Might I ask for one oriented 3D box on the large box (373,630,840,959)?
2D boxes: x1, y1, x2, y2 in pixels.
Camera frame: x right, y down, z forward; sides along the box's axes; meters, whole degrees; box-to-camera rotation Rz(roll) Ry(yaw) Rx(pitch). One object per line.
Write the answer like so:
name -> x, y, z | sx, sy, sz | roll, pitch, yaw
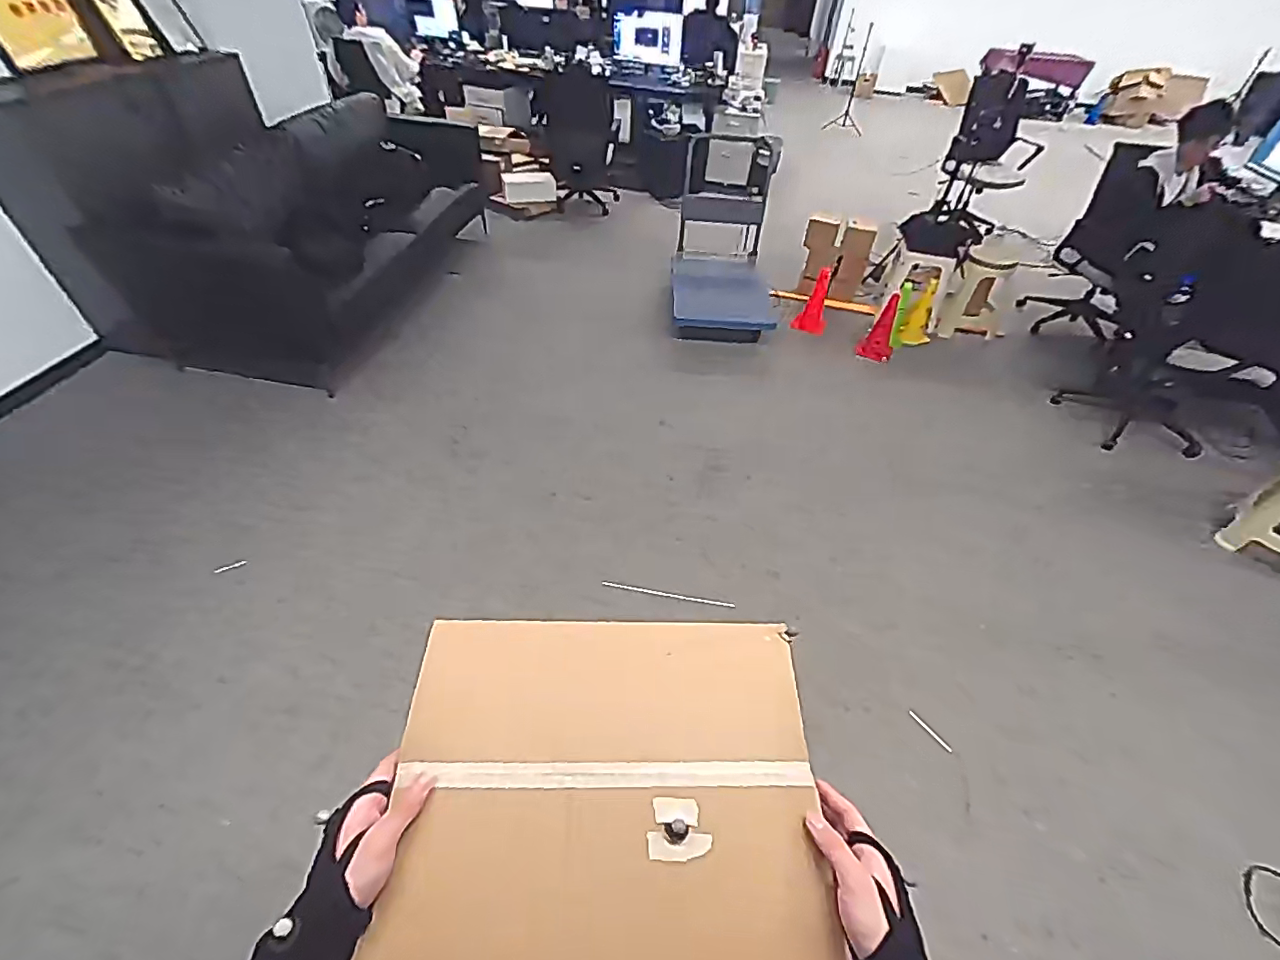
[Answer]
large box -> -0.037, 0.391, 0.656 | 0.408, 0.320, 0.320 | 1, 52, -2
